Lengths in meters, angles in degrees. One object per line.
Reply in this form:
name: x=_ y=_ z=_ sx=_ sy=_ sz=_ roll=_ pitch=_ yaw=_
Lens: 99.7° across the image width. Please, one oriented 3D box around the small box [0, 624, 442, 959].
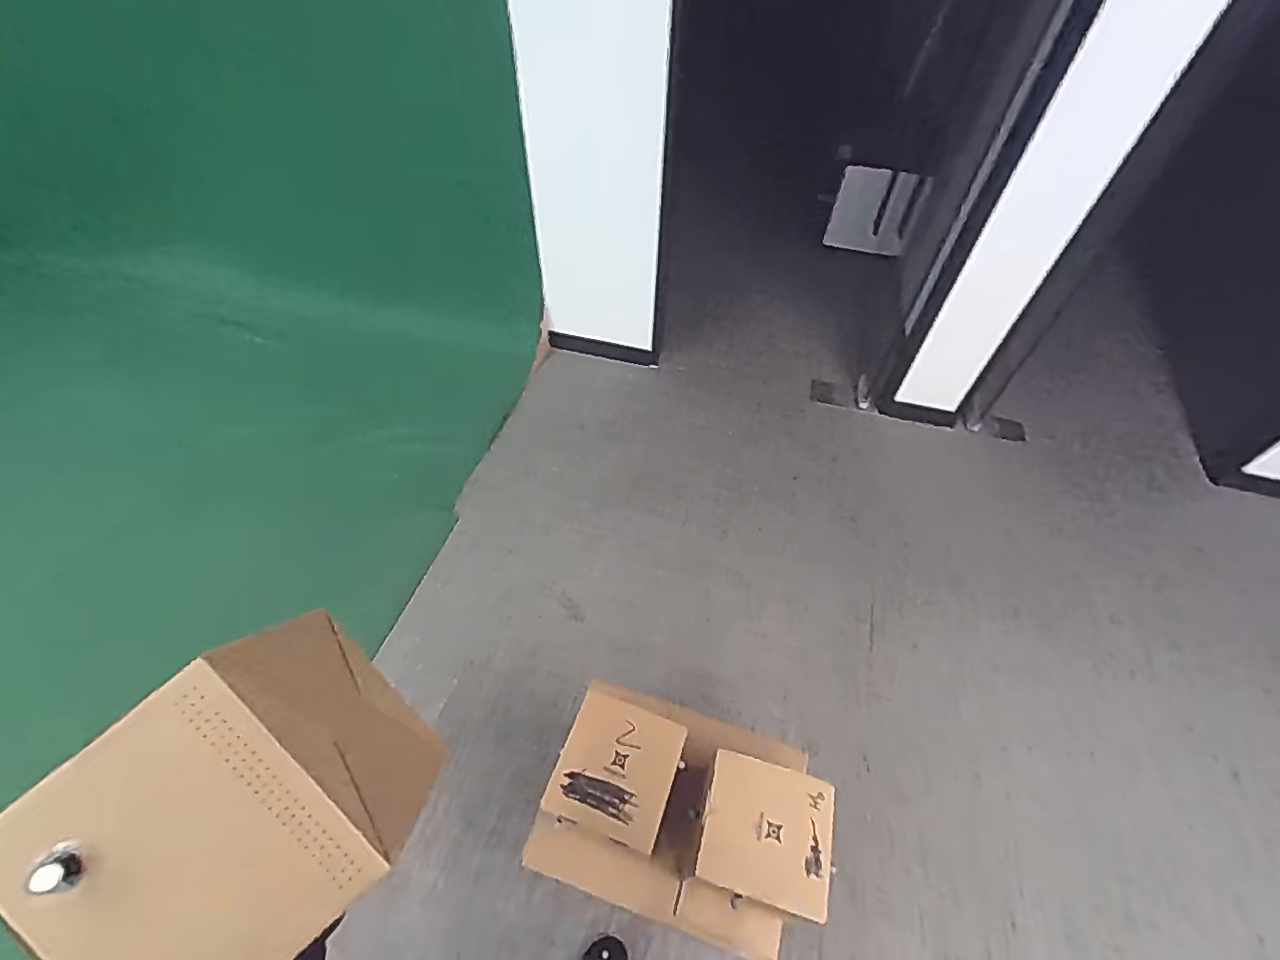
small box: x=-0.278 y=0.233 z=0.392 sx=0.176 sy=0.168 sz=0.179 roll=-41 pitch=92 yaw=-7
